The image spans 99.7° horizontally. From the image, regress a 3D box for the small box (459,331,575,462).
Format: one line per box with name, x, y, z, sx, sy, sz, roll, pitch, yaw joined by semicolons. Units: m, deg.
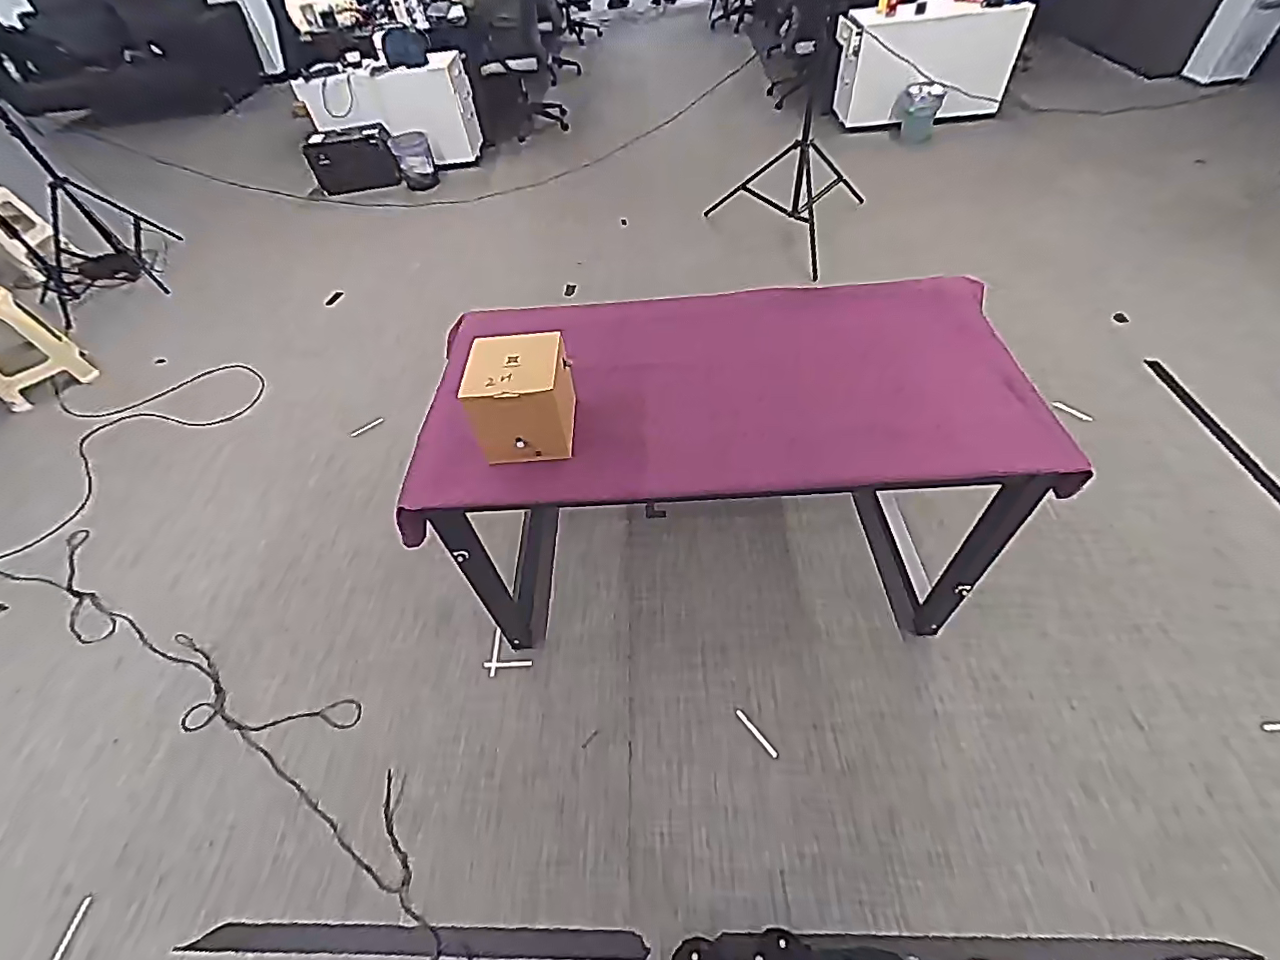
small box;-0.219;-0.156;1.020;0.168;0.176;0.179;-4;49;3
